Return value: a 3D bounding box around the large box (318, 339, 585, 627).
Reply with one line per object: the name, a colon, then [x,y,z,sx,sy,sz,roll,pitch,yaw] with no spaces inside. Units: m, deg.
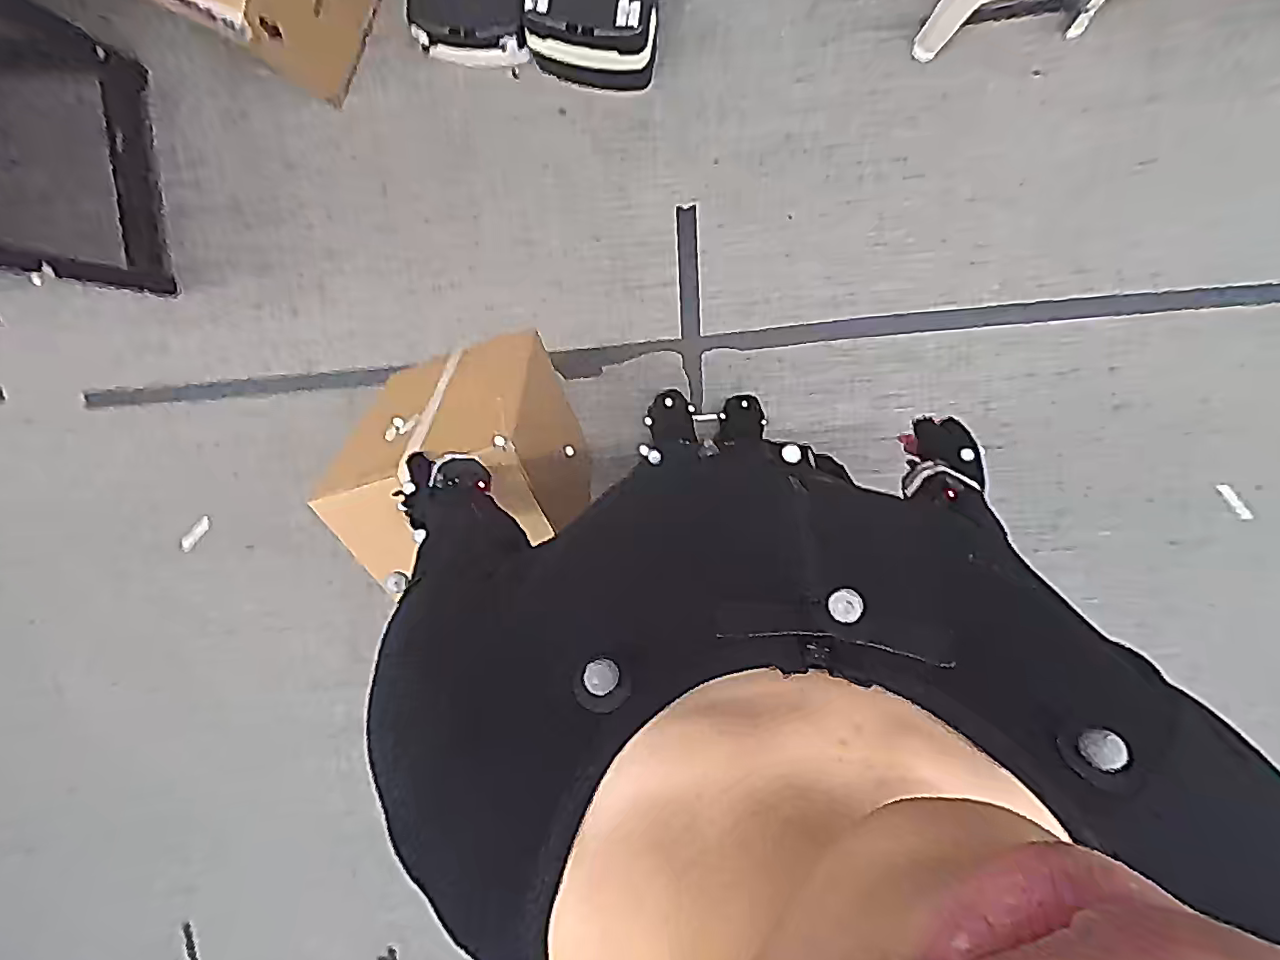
large box: [-0.293,-0.007,1.000,0.320,0.408,0.320,-16,126,7]
